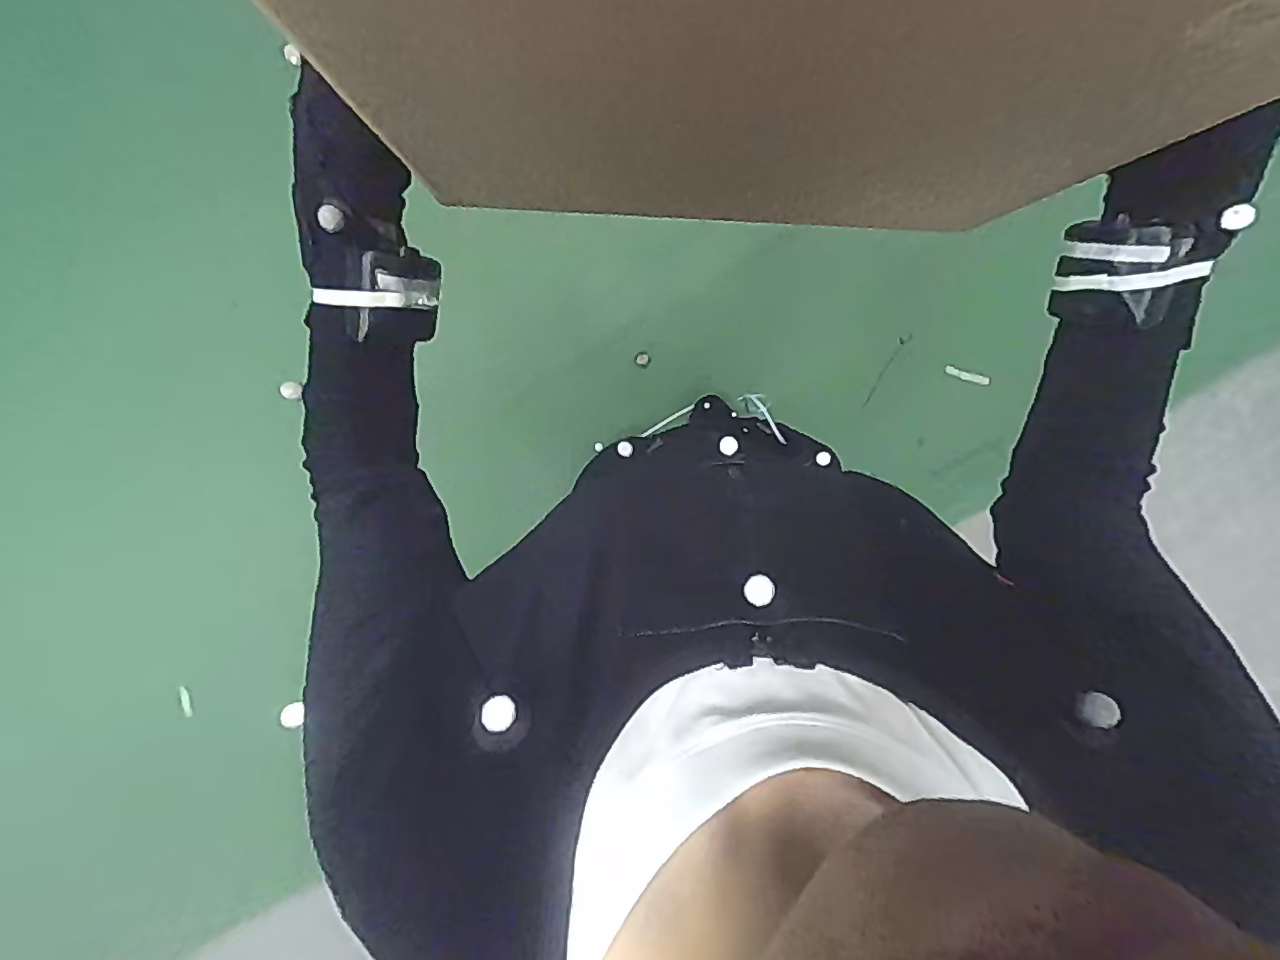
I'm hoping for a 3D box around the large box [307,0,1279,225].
[{"bbox_3d":[0.072,-0.326,0.234,0.408,0.320,0.320,2,100,-5],"label":"large box"}]
